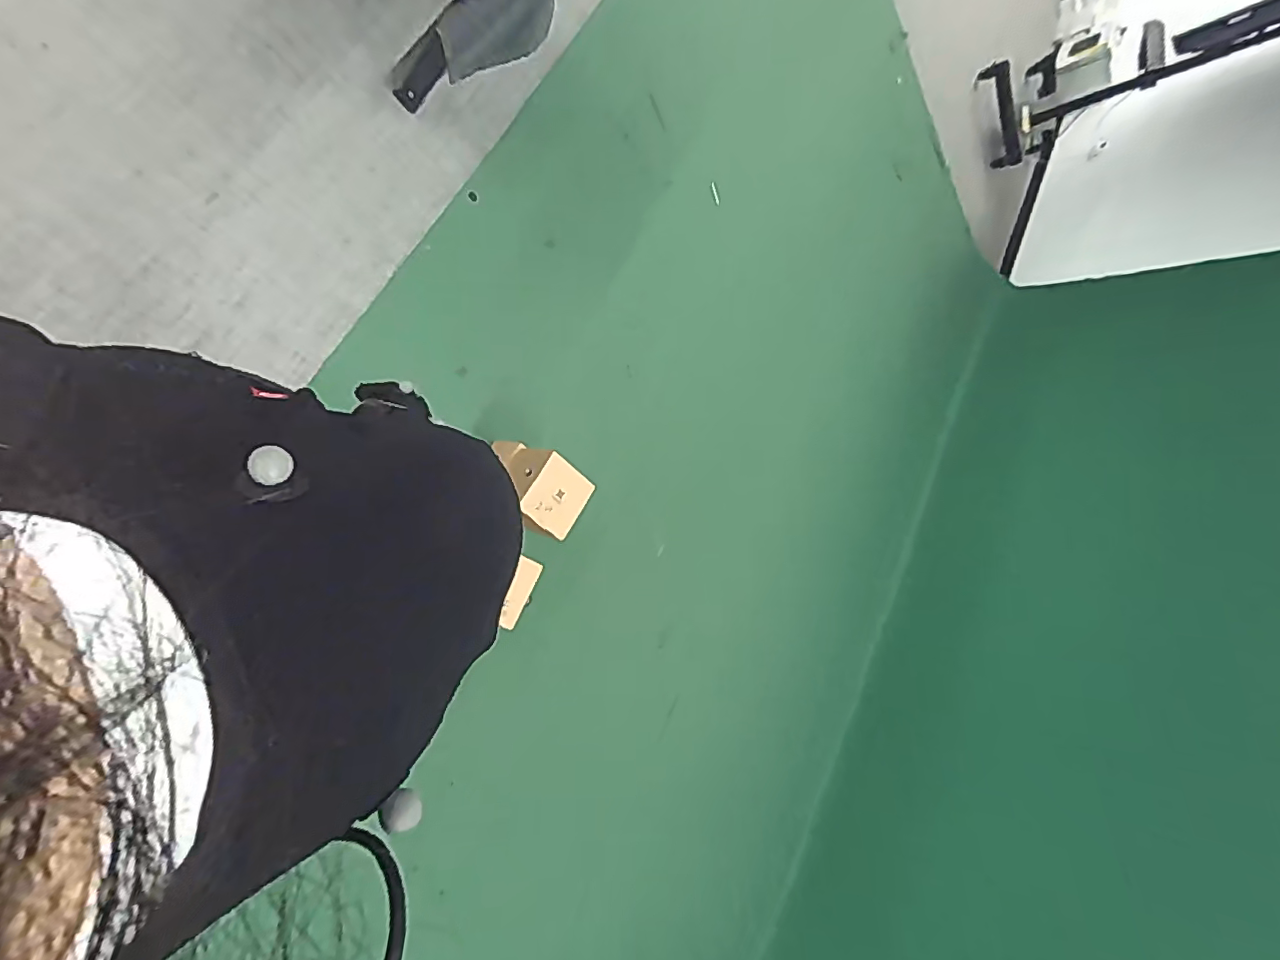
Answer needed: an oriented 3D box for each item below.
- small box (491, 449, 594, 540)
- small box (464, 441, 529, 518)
[{"bbox_3d":[-0.262,0.032,1.429,0.168,0.176,0.179,44,67,-34],"label":"small box"},{"bbox_3d":[-0.370,0.005,1.551,0.179,0.176,0.168,45,66,-34],"label":"small box"}]
